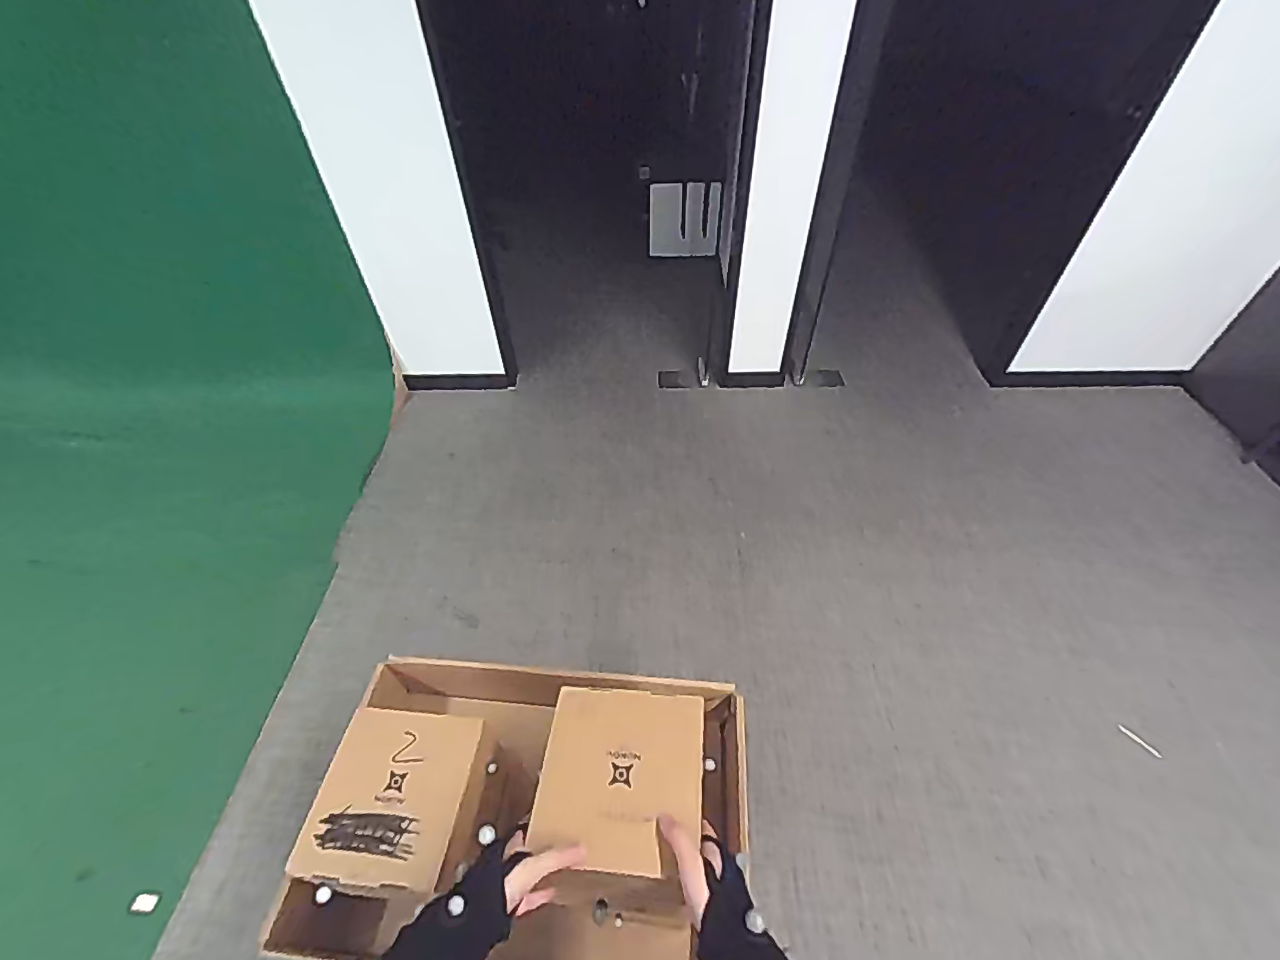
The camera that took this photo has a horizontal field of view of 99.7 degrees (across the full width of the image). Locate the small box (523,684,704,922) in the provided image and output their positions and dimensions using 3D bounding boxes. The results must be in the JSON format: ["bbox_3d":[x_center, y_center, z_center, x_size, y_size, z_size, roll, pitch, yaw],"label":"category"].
[{"bbox_3d":[-0.018,0.358,0.607,0.168,0.176,0.179,3,41,7],"label":"small box"}]
